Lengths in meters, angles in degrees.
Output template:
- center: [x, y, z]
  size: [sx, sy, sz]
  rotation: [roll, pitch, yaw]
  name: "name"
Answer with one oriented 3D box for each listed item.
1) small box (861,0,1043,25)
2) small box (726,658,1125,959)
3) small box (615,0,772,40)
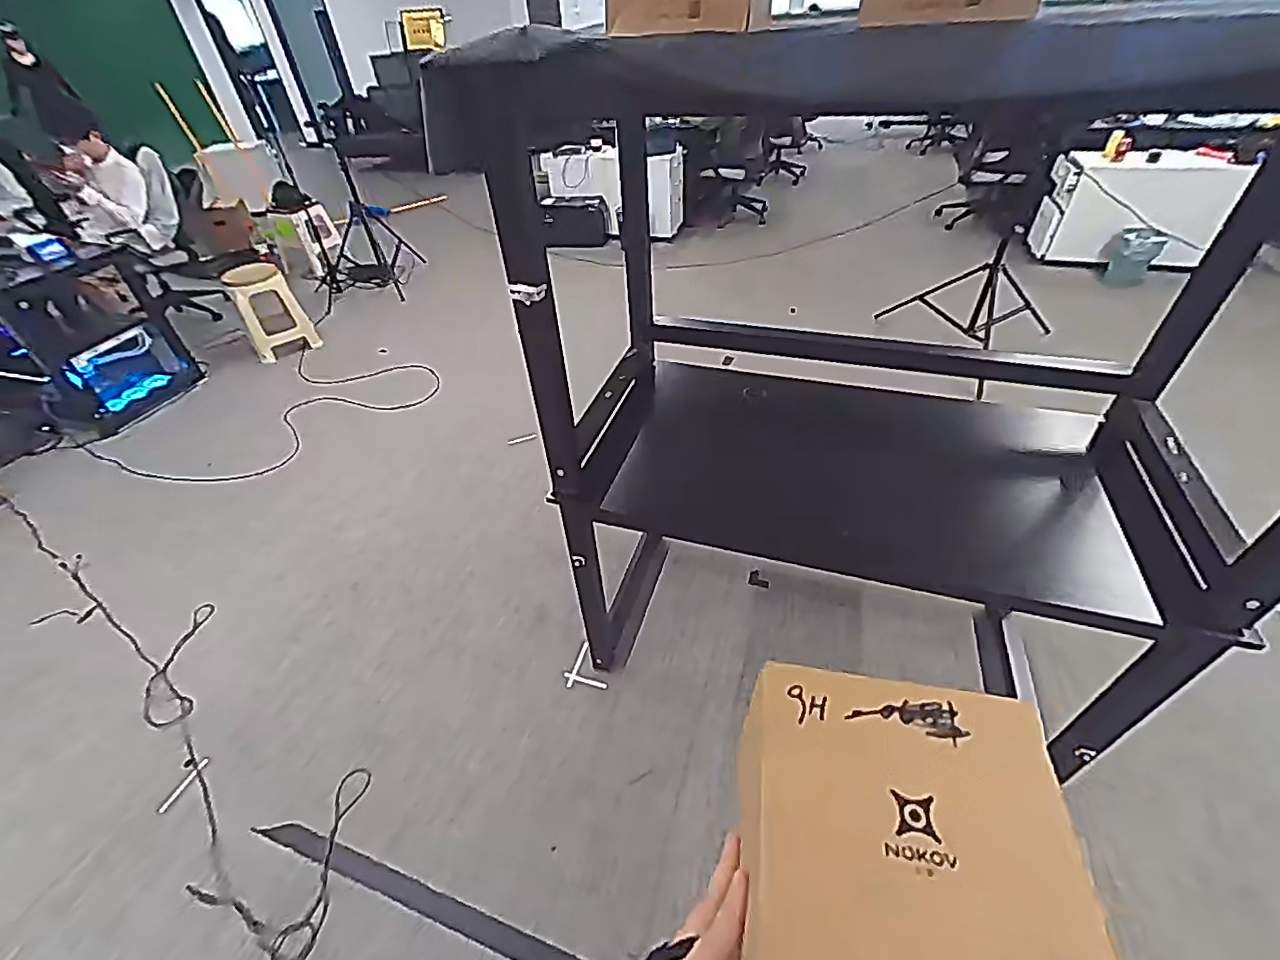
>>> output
- center: [0.325, -0.566, 0.538]
  size: [0.168, 0.176, 0.179]
  rotation: [11, 42, 16]
  name: "small box"
- center: [0.148, 0.242, 0.338]
  size: [0.168, 0.176, 0.179]
  rotation: [7, 45, 7]
  name: "small box"
- center: [0.067, -0.614, 0.614]
  size: [0.168, 0.176, 0.179]
  rotation: [11, 42, 14]
  name: "small box"
